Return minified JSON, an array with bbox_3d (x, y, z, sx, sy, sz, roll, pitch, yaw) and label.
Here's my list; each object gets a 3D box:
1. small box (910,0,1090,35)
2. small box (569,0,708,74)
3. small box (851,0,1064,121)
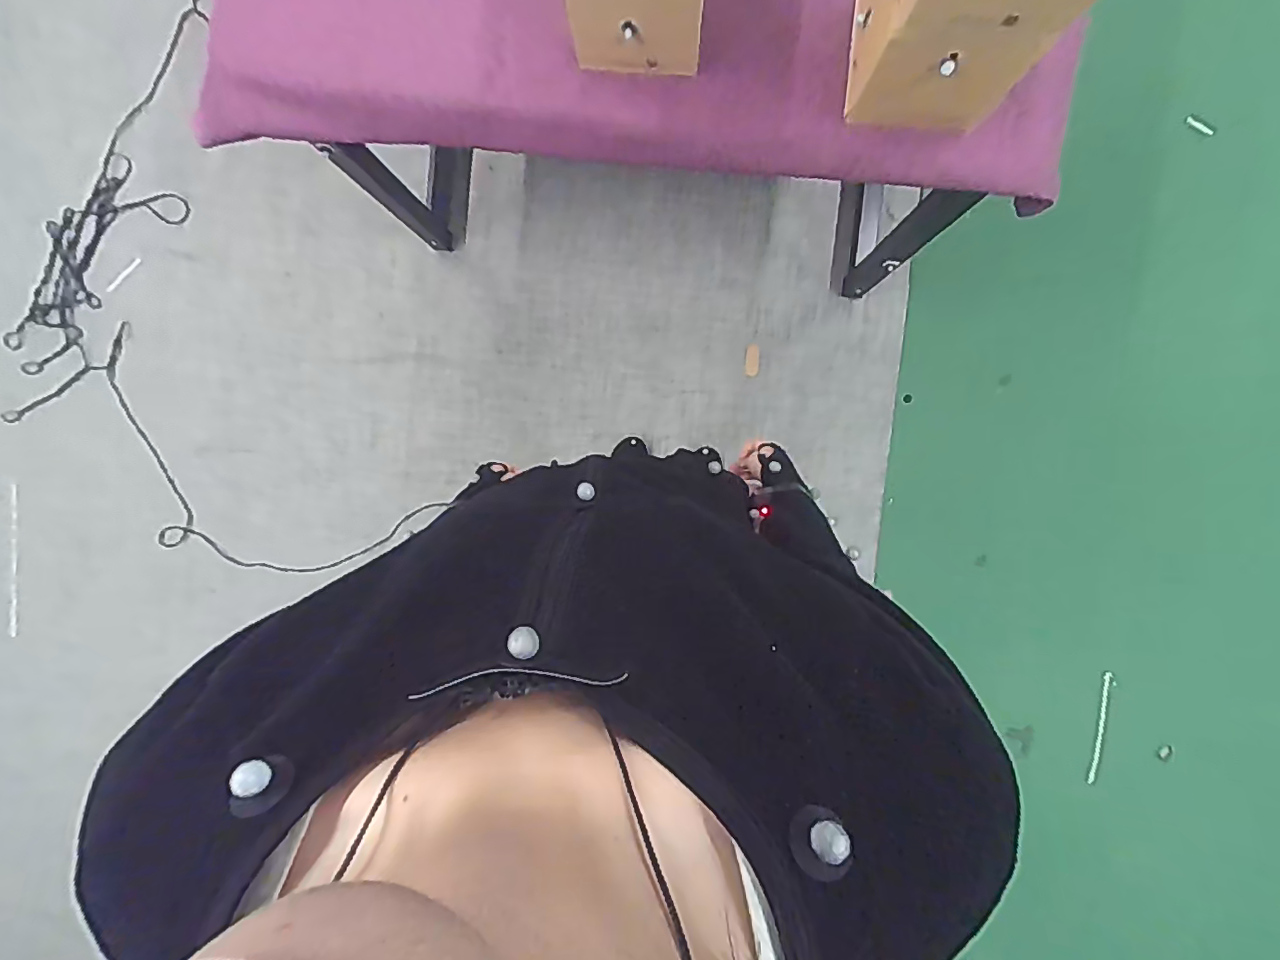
[{"bbox_3d":[0.365,-0.558,0.488,0.168,0.176,0.179,5,93,6],"label":"small box"},{"bbox_3d":[0.005,-0.650,0.673,0.168,0.176,0.179,6,92,3],"label":"small box"},{"bbox_3d":[0.376,-0.565,0.652,0.179,0.176,0.168,5,94,5],"label":"small box"}]
